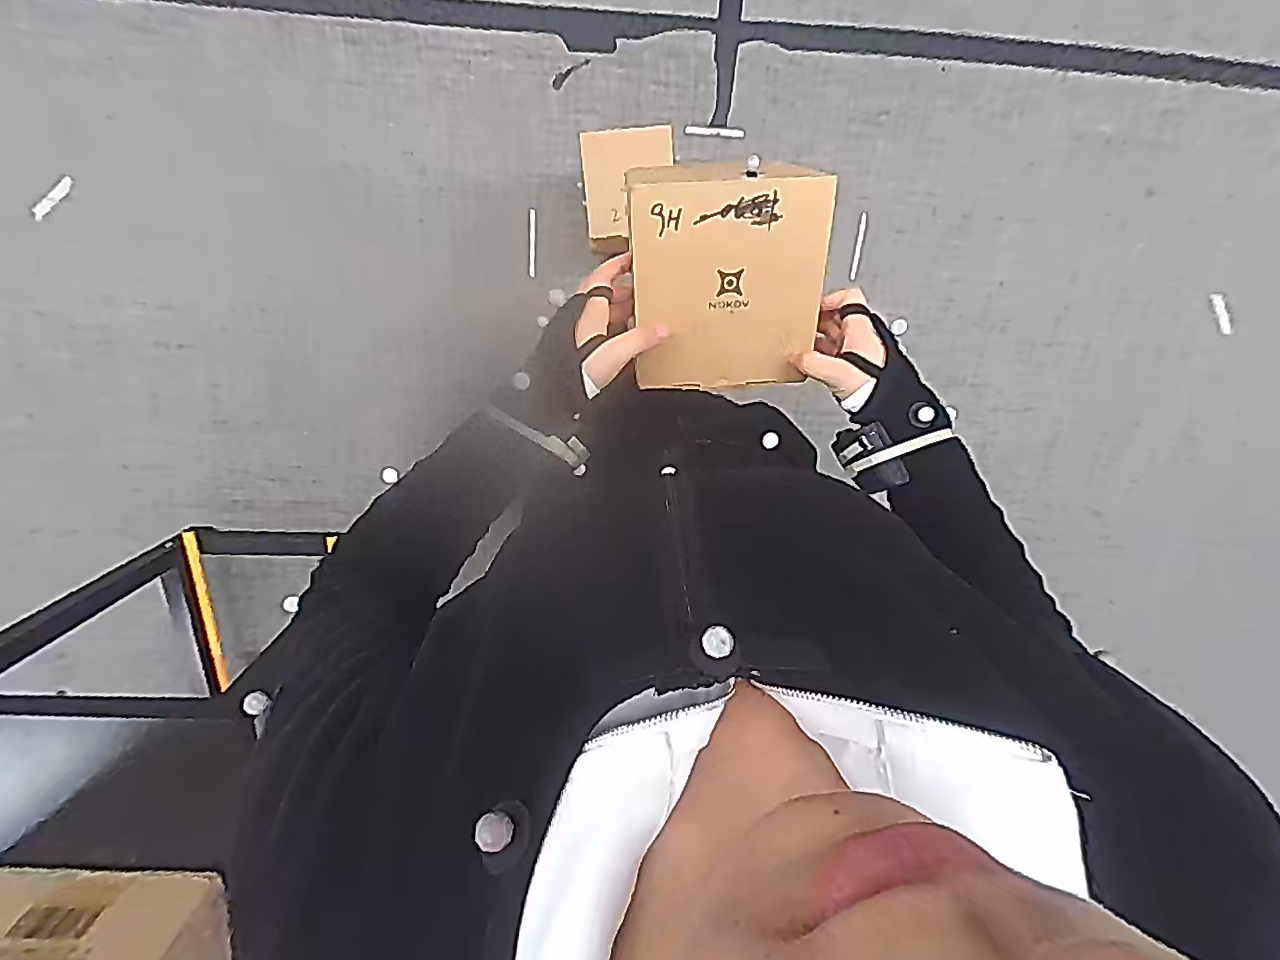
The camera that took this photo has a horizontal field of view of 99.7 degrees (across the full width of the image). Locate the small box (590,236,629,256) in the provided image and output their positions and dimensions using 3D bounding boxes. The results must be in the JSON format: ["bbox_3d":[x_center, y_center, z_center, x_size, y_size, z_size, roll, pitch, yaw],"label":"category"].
[{"bbox_3d":[-0.028,-0.603,1.215,0.168,0.176,0.179,0,111,-1],"label":"small box"}]

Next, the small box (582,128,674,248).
[{"bbox_3d":[-0.020,-0.560,1.055,0.168,0.176,0.179,-5,110,1],"label":"small box"}]

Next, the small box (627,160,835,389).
[{"bbox_3d":[0.073,-0.207,0.536,0.168,0.176,0.179,-3,124,0],"label":"small box"}]
